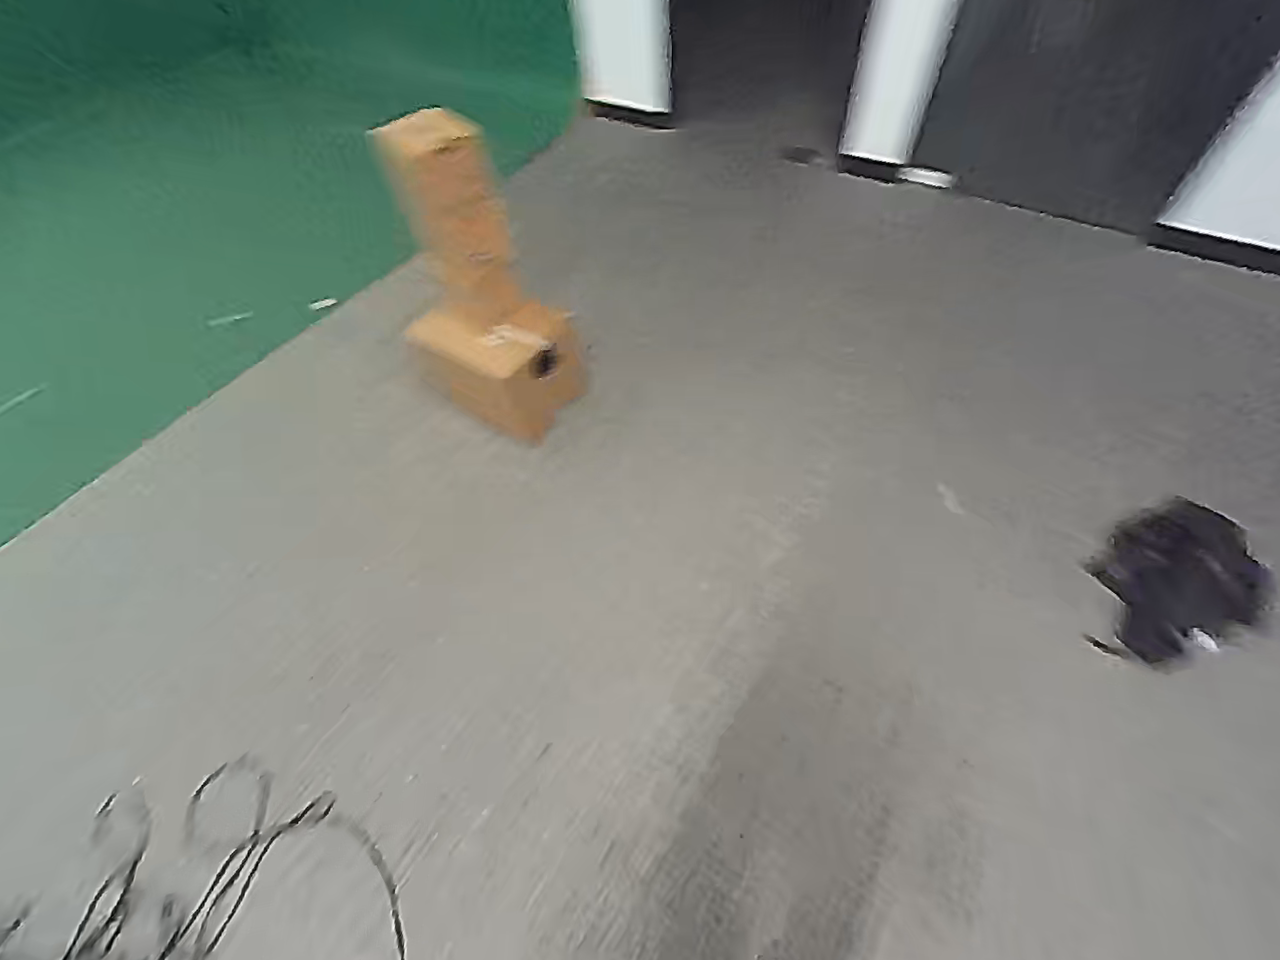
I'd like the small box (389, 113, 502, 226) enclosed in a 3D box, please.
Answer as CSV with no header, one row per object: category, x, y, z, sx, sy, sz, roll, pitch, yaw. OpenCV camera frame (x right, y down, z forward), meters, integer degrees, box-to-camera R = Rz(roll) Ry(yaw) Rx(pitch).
small box,-0.459,-0.740,1.300,0.168,0.176,0.179,-39,62,-22

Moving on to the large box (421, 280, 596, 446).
large box,-0.404,-0.375,1.737,0.408,0.320,0.320,28,64,20
